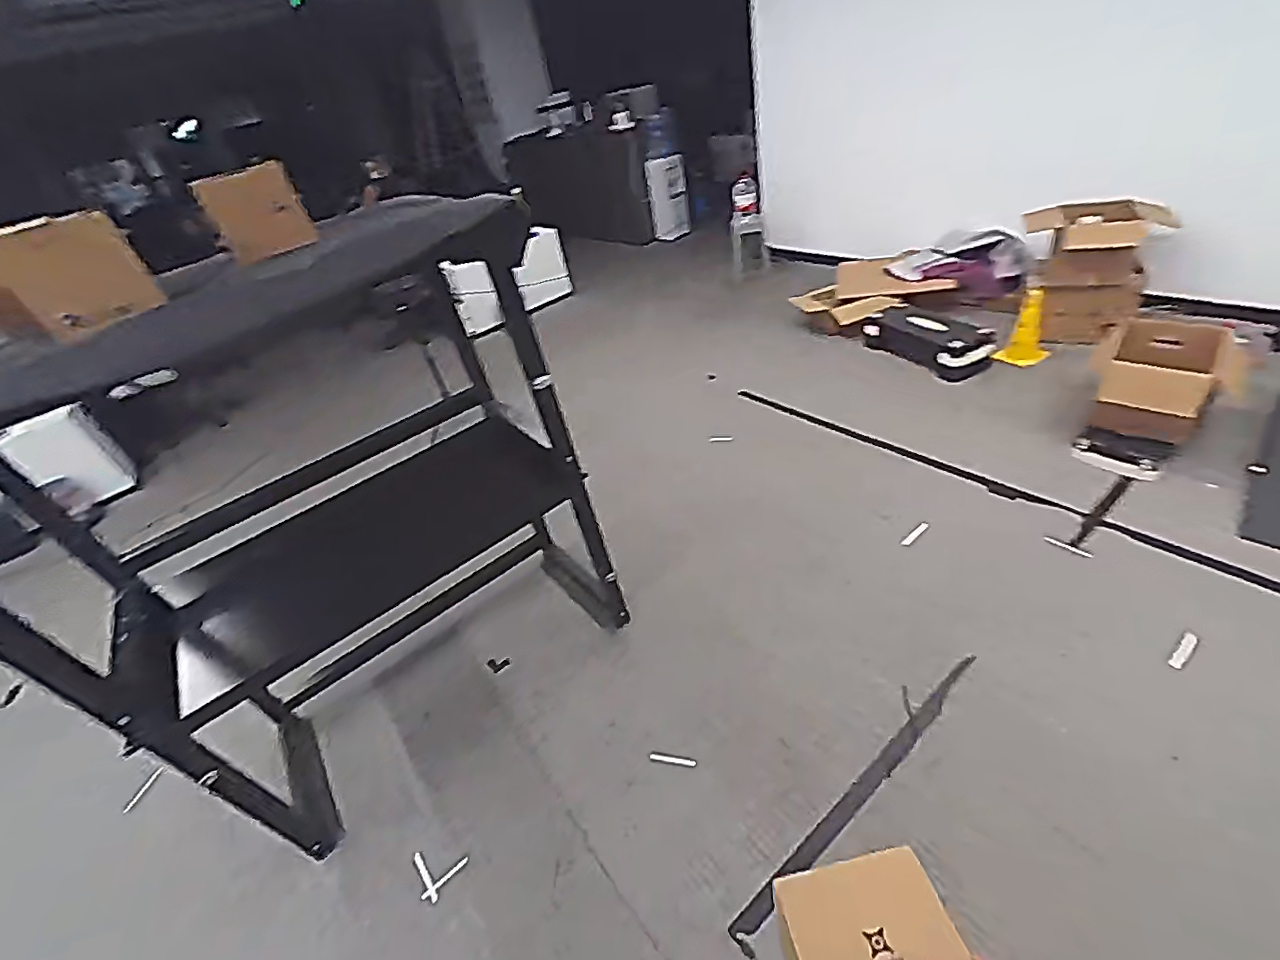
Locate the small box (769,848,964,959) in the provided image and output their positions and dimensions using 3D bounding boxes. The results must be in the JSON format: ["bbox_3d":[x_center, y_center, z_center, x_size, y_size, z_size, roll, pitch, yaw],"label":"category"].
[{"bbox_3d":[0.249,0.550,0.583,0.168,0.176,0.179,-13,29,-3],"label":"small box"}]

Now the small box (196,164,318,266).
[{"bbox_3d":[-0.867,-0.609,1.237,0.179,0.176,0.168,-31,40,-22],"label":"small box"}]
